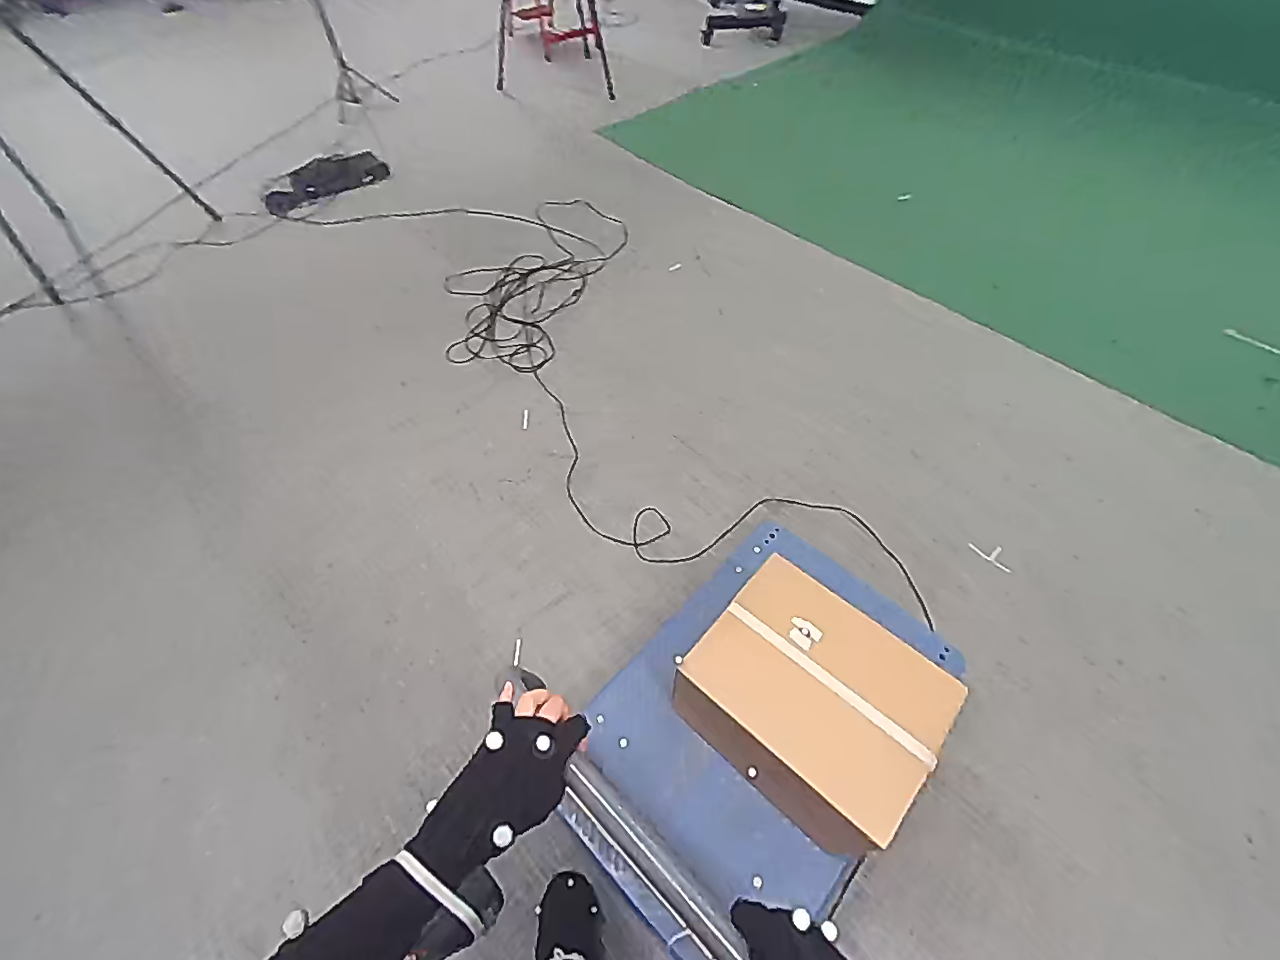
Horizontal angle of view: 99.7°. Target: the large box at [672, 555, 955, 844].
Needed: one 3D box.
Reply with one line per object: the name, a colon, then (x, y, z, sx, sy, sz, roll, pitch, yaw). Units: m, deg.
large box: (0.311, 0.434, 1.079, 0.408, 0.320, 0.320, 35, 62, 25)
